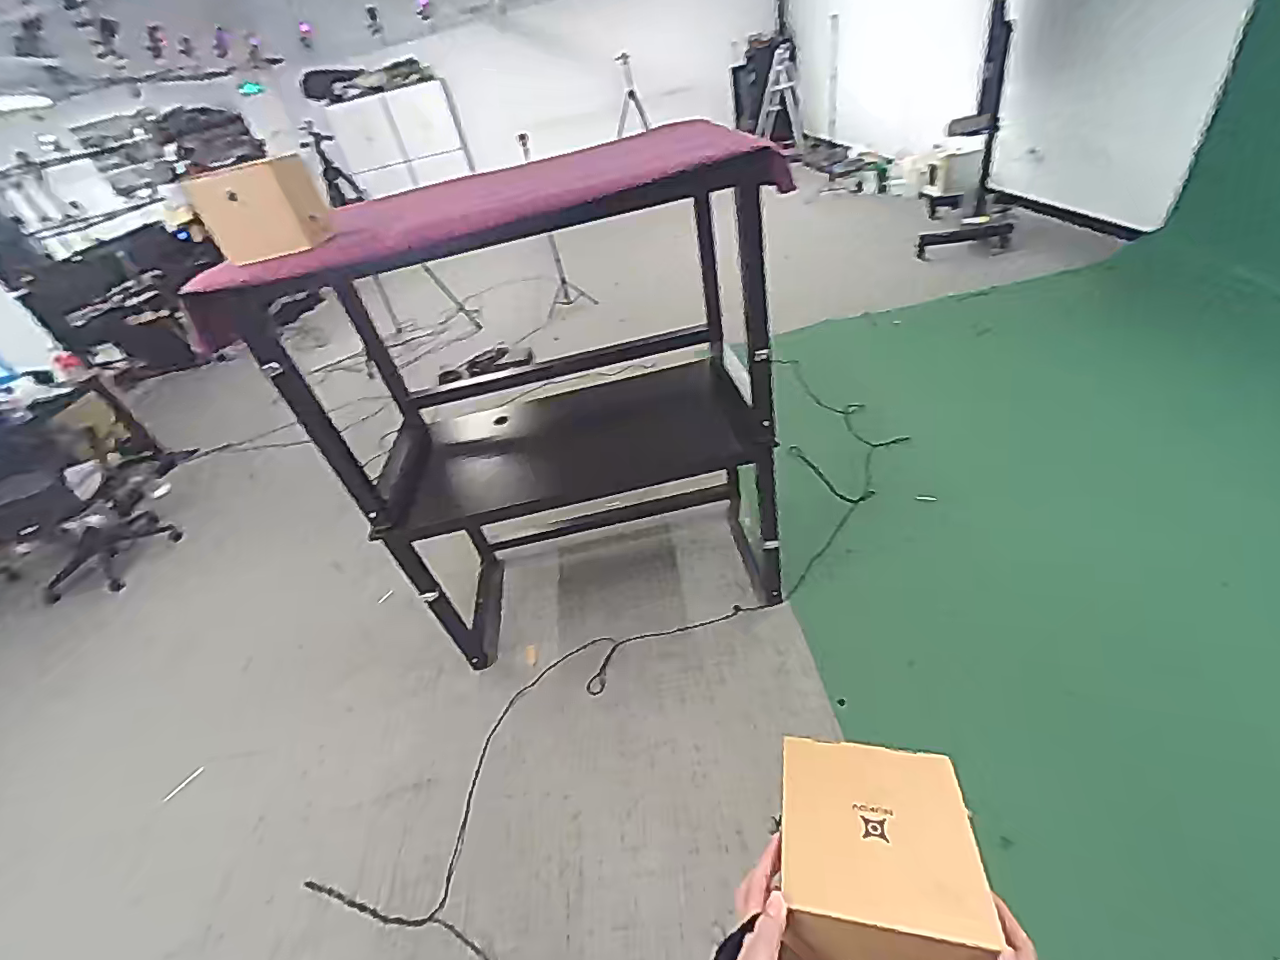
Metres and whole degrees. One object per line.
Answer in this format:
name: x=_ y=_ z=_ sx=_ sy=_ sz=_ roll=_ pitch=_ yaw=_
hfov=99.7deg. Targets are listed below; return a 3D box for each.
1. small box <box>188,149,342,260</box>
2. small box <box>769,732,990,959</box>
small box: x=-0.781 y=-0.583 z=1.148 sx=0.179 sy=0.176 sz=0.168 roll=-12 pitch=37 yaw=2
small box: x=0.216 y=0.385 z=0.528 sx=0.168 sy=0.176 sz=0.179 roll=0 pitch=23 yaw=15
